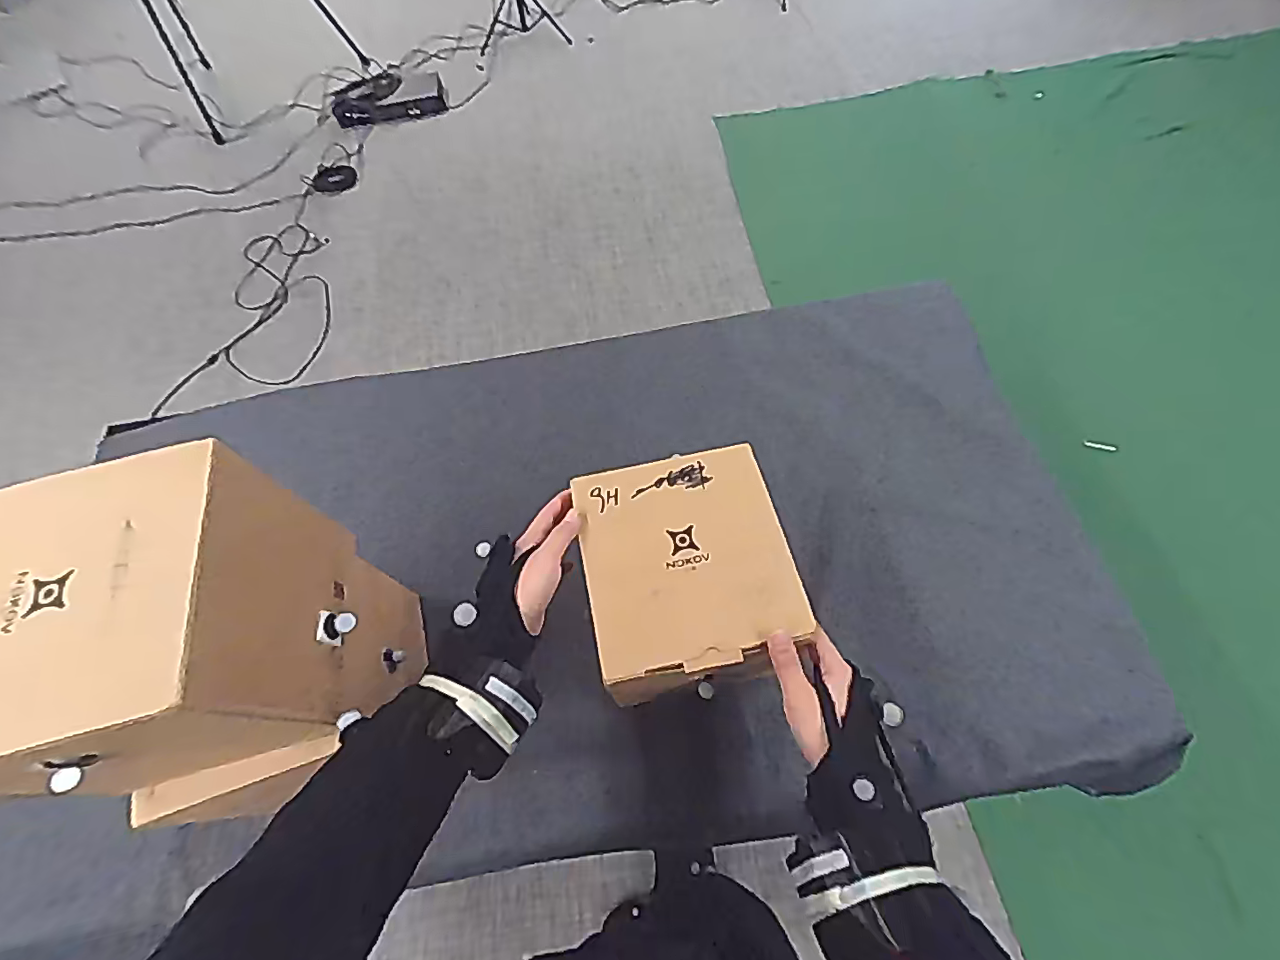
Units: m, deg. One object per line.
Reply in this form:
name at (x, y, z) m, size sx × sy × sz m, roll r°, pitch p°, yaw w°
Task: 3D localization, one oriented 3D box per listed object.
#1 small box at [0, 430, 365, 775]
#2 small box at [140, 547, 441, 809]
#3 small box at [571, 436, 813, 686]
small box at (-0.320, 0.094, 0.374) m, size 0.179 × 0.176 × 0.168 m, roll -15°, pitch 64°, yaw -4°
small box at (-0.308, 0.182, 0.511) m, size 0.168 × 0.176 × 0.179 m, roll -19°, pitch 63°, yaw -5°
small box at (0.039, 0.087, 0.510) m, size 0.168 × 0.176 × 0.179 m, roll -12°, pitch 63°, yaw -4°
